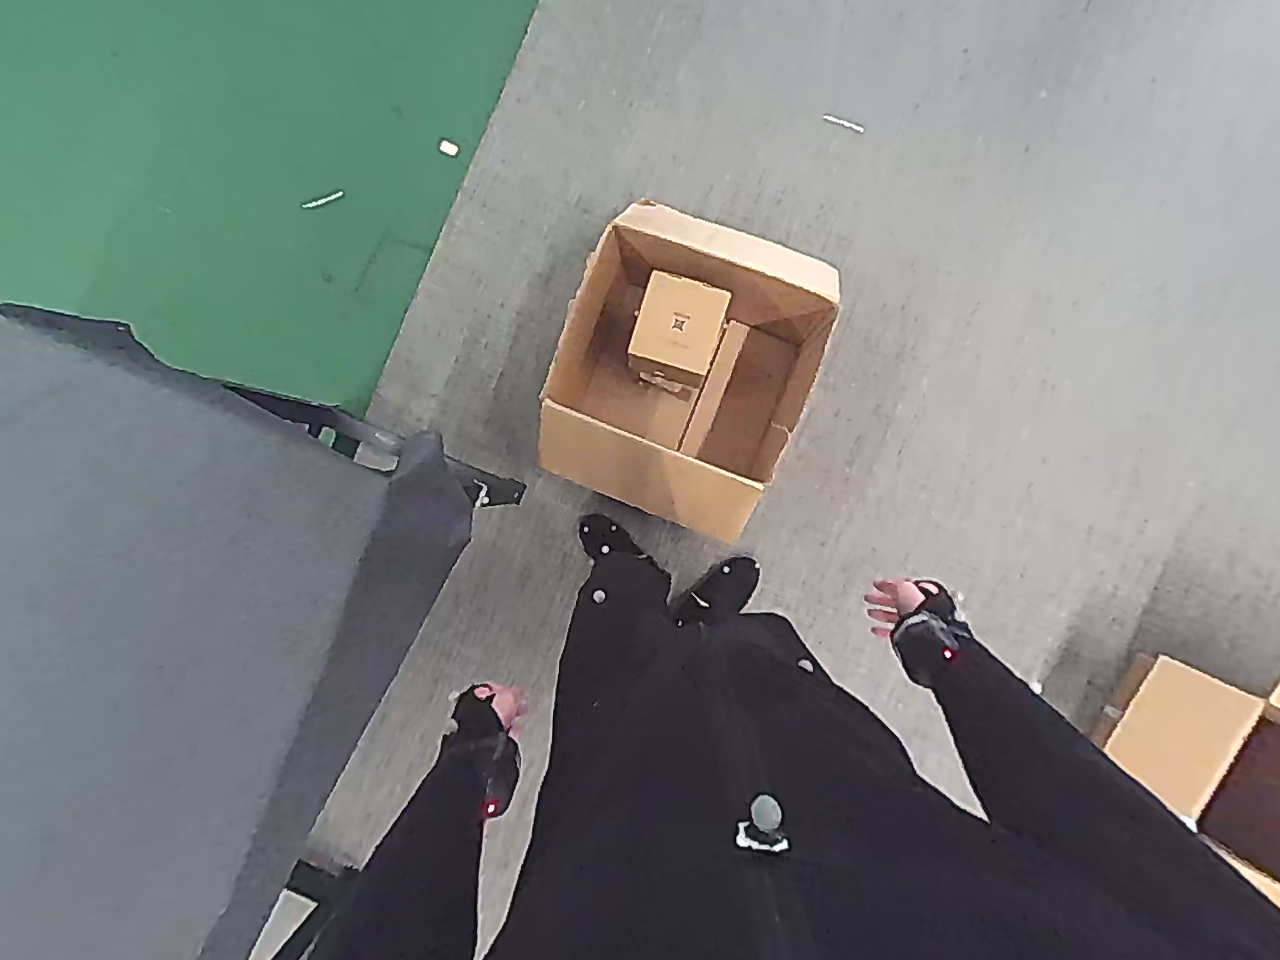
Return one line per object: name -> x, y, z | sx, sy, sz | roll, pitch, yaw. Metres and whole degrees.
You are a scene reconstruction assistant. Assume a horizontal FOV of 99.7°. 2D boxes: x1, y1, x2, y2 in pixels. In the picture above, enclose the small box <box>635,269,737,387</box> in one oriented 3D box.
small box -> 0.092, -0.312, 1.145 | 0.168, 0.176, 0.179 | 17, 91, 2
